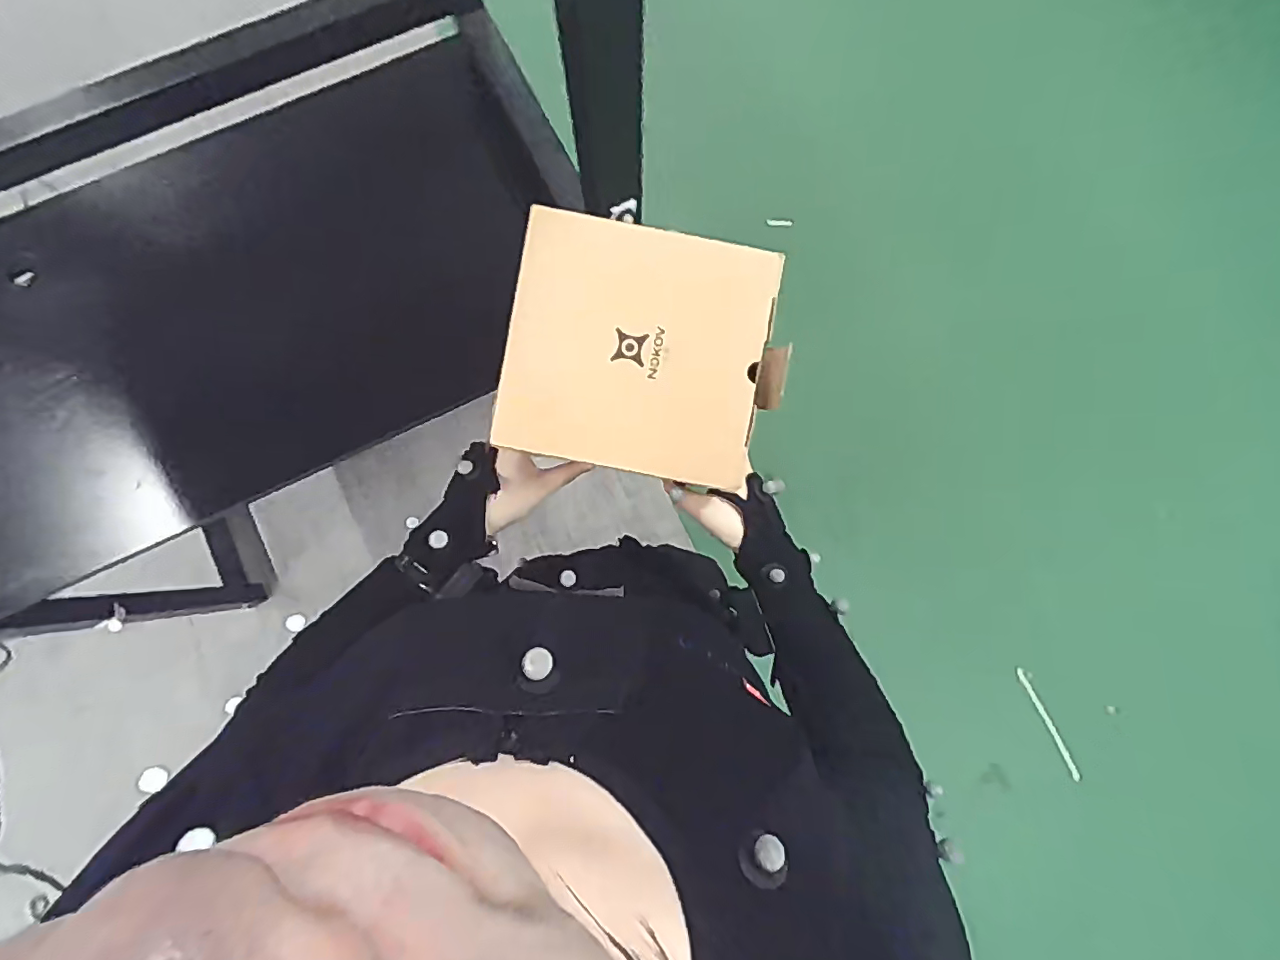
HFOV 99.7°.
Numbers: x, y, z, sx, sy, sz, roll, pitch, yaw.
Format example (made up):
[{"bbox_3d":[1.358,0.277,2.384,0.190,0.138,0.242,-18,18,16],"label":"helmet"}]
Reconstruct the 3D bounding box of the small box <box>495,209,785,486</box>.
[{"bbox_3d":[-0.001,-0.091,0.450,0.179,0.176,0.168,11,91,-2],"label":"small box"}]
